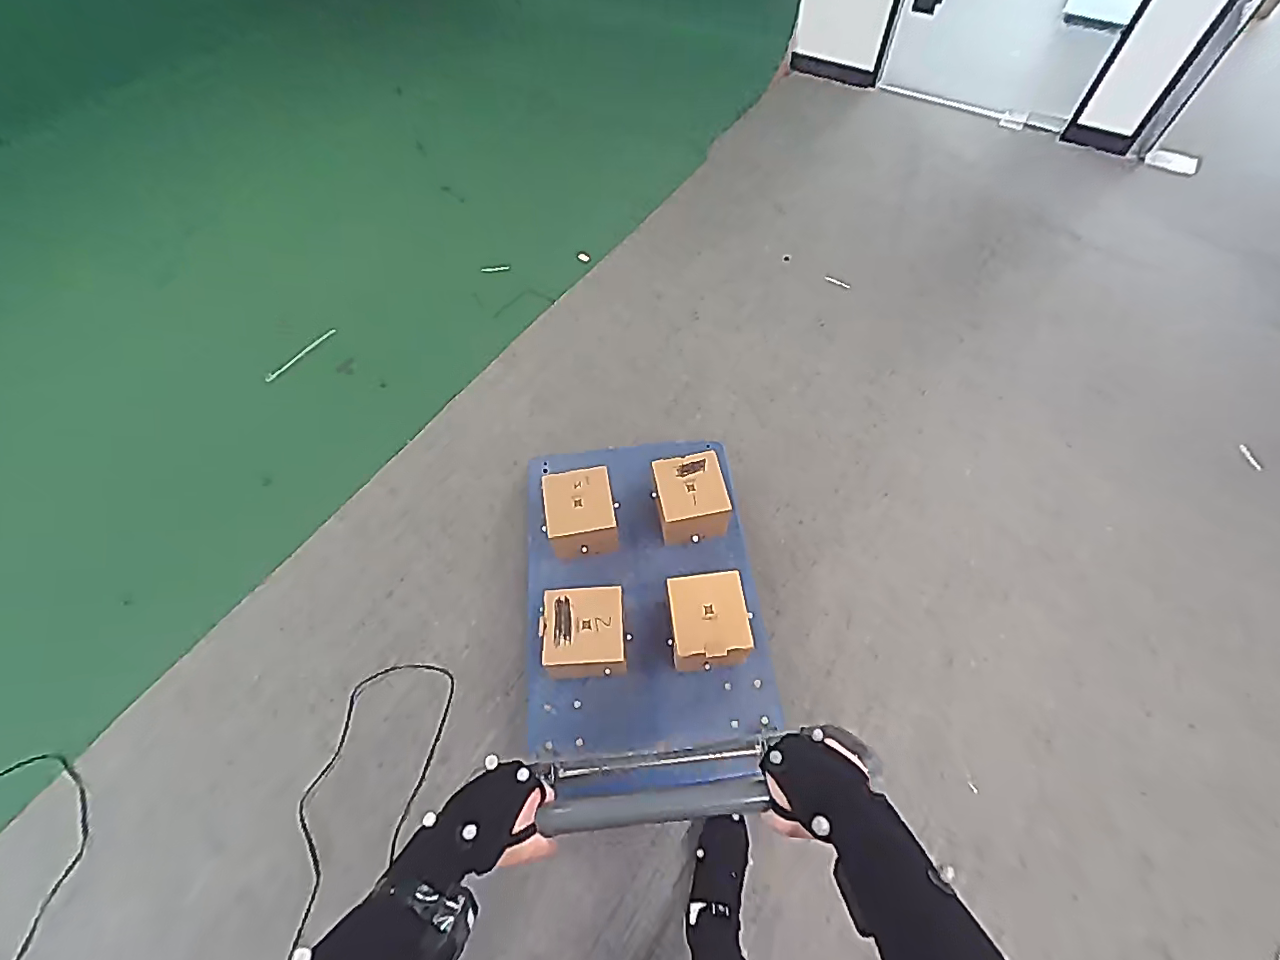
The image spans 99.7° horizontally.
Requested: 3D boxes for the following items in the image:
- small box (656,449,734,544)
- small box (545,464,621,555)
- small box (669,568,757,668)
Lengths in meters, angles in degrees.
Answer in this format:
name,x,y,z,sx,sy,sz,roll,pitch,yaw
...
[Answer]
name,x,y,z,sx,sy,sz,roll,pitch,yaw
small box,0.135,0.045,1.400,0.168,0.176,0.179,-11,62,-3
small box,-0.143,0.083,1.390,0.168,0.176,0.179,-9,61,-4
small box,0.160,0.321,1.248,0.168,0.176,0.179,-7,61,-1
